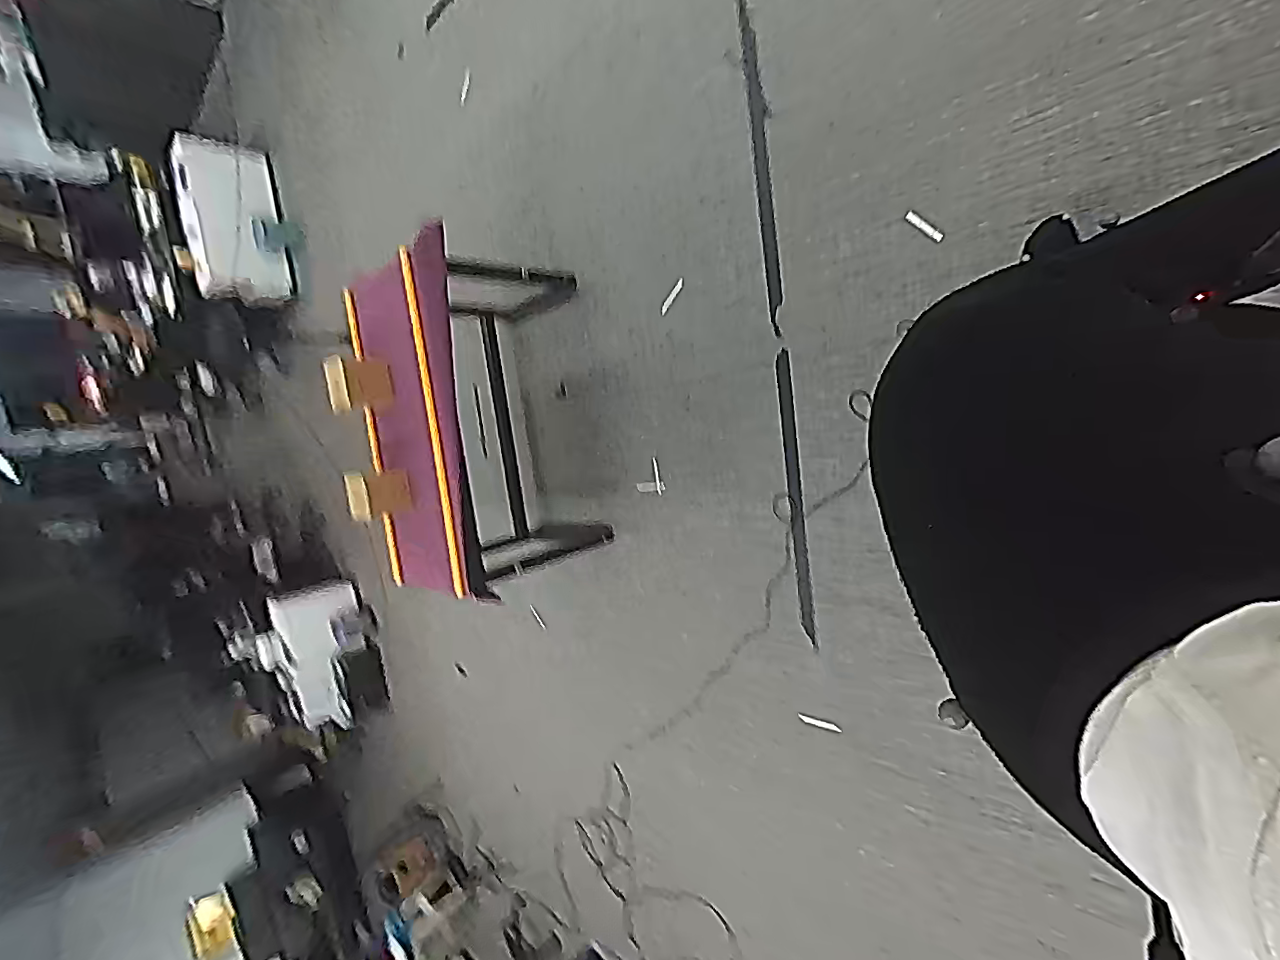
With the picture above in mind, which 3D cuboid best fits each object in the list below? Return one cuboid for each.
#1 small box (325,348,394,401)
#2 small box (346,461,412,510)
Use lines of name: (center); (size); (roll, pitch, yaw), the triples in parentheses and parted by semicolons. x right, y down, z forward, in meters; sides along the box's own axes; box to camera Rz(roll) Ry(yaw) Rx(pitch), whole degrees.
small box: (-1.065, -0.400, 2.058); (0.168, 0.176, 0.179); (0, 100, 41)
small box: (-1.016, 0.017, 2.108); (0.179, 0.176, 0.168); (-1, 99, 41)
